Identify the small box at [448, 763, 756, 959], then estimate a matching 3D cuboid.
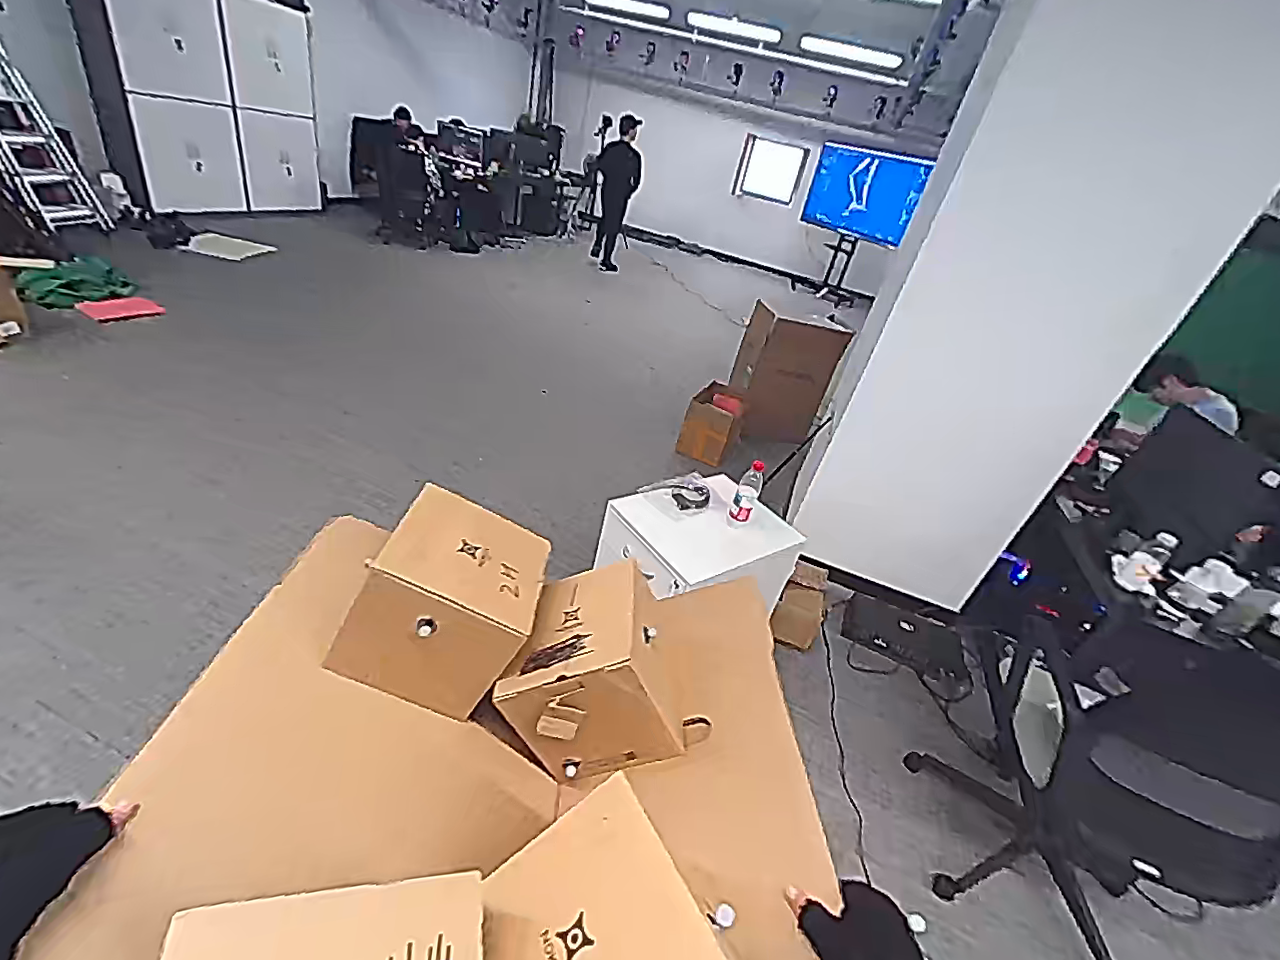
[{"bbox_3d":[-0.017,0.377,0.423,0.179,0.176,0.168,-35,31,-14],"label":"small box"}]
